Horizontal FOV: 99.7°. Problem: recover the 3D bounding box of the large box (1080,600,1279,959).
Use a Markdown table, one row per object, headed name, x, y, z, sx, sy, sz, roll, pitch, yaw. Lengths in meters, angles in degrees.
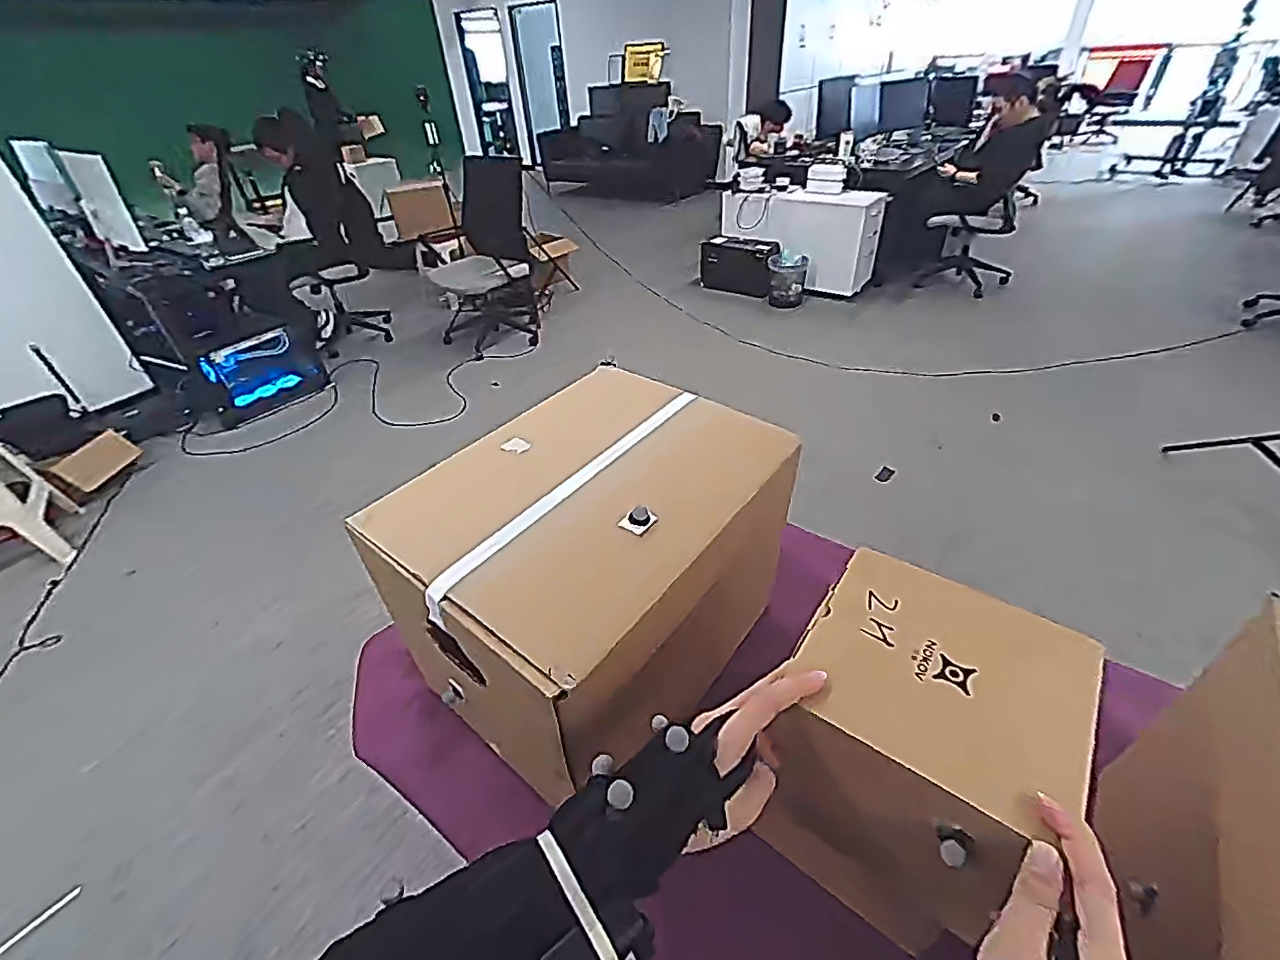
| name | x | y | z | sx | sy | sz | roll | pitch | yaw |
| --- | --- | --- | --- | --- | --- | --- | --- | --- | --- |
| large box | 0.504 | 0.362 | 0.319 | 0.320 | 0.320 | 0.408 | 24 | 44 | 30 |
